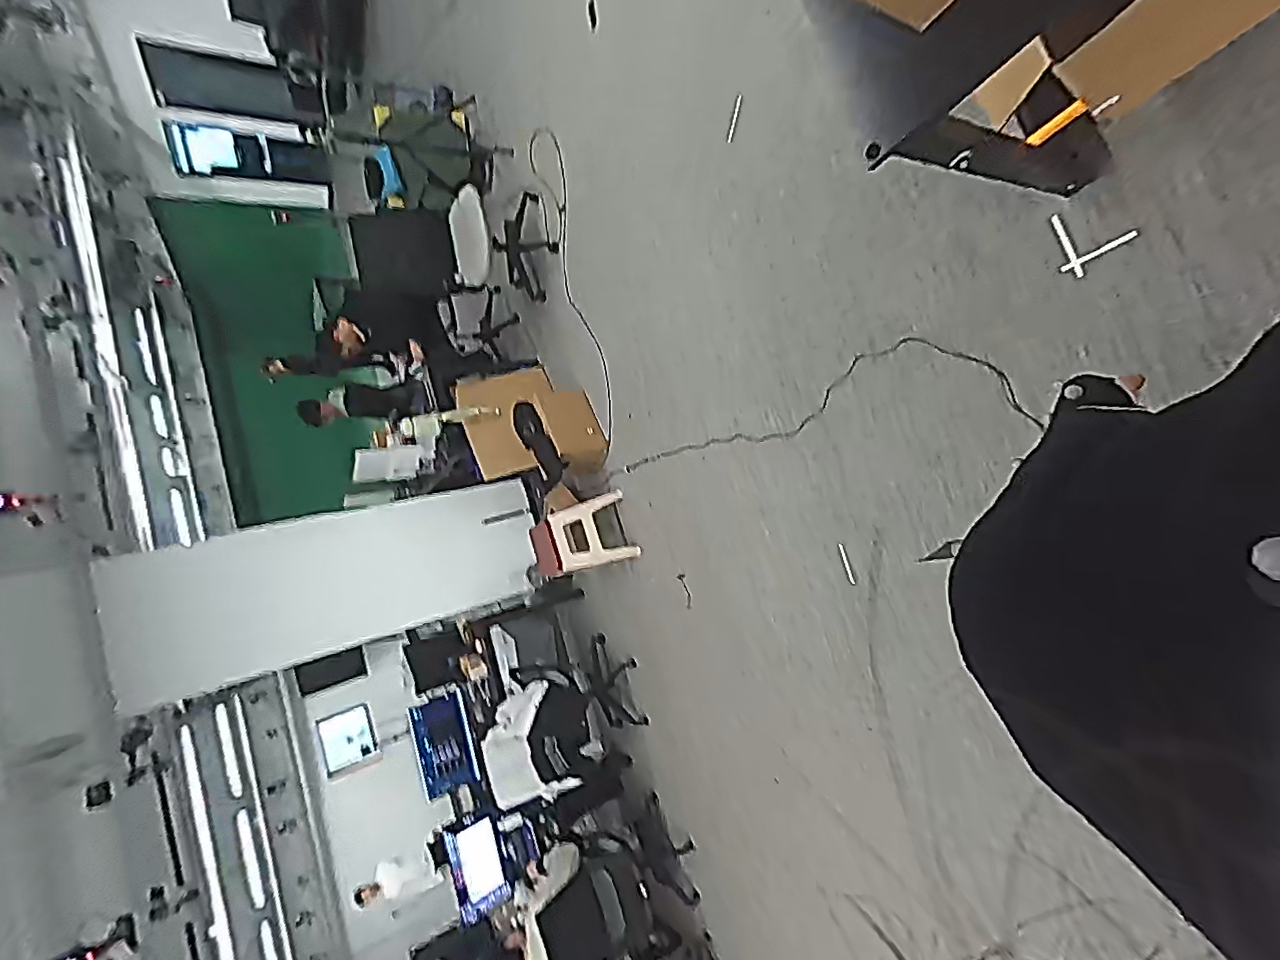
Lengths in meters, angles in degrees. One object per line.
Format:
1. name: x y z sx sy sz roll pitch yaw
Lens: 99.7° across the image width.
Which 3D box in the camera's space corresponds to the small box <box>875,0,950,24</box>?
1. small box: 0.323 -0.672 0.607 0.179 0.176 0.168 -27 79 56
